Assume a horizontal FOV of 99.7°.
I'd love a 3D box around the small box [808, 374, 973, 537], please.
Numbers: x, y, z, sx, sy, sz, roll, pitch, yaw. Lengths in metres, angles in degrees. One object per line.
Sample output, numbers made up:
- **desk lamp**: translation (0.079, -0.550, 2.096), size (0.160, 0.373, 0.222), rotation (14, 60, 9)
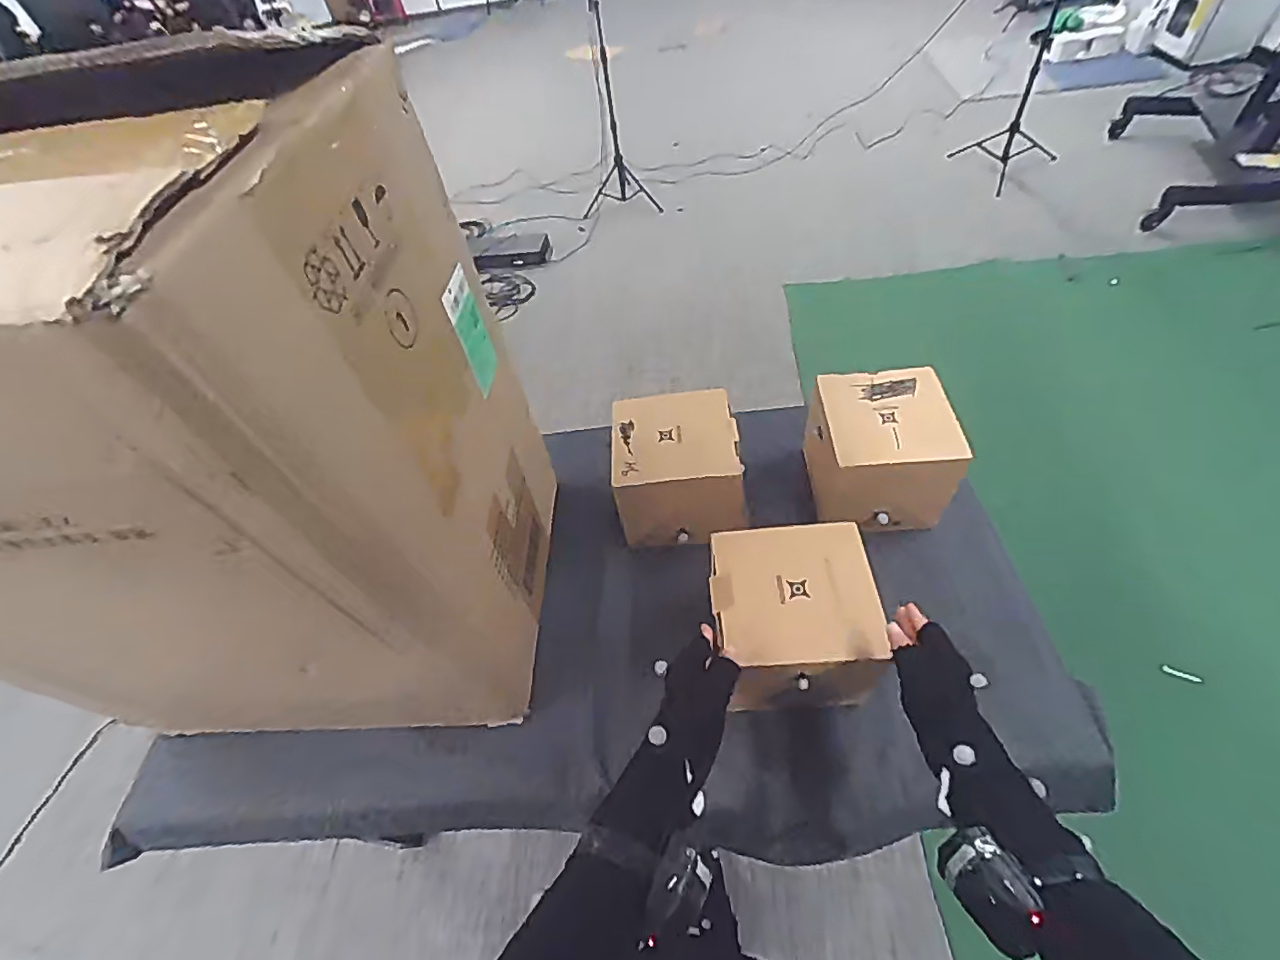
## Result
- **small box**: translation (0.354, -0.034, 0.807), size (0.168, 0.176, 0.179), rotation (-4, 52, 7)
